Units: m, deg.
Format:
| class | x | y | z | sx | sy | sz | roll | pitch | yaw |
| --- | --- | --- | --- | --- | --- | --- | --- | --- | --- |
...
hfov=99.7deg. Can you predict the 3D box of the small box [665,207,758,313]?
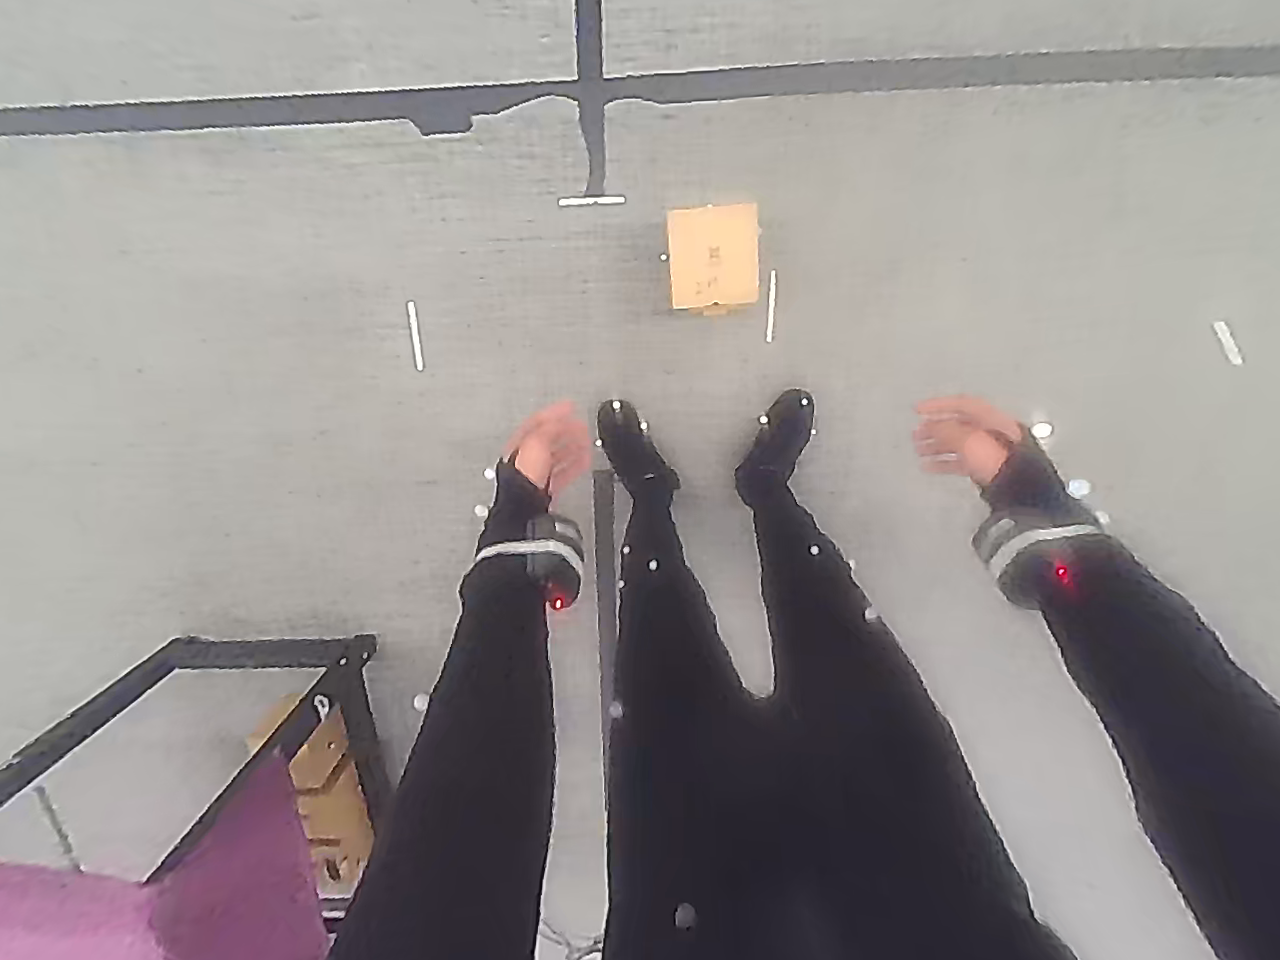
| class | x | y | z | sx | sy | sz | roll | pitch | yaw |
| --- | --- | --- | --- | --- | --- | --- | --- | --- | --- |
| small box | 0.139 | -0.435 | 1.084 | 0.168 | 0.176 | 0.179 | -4 | 110 | 3 |
